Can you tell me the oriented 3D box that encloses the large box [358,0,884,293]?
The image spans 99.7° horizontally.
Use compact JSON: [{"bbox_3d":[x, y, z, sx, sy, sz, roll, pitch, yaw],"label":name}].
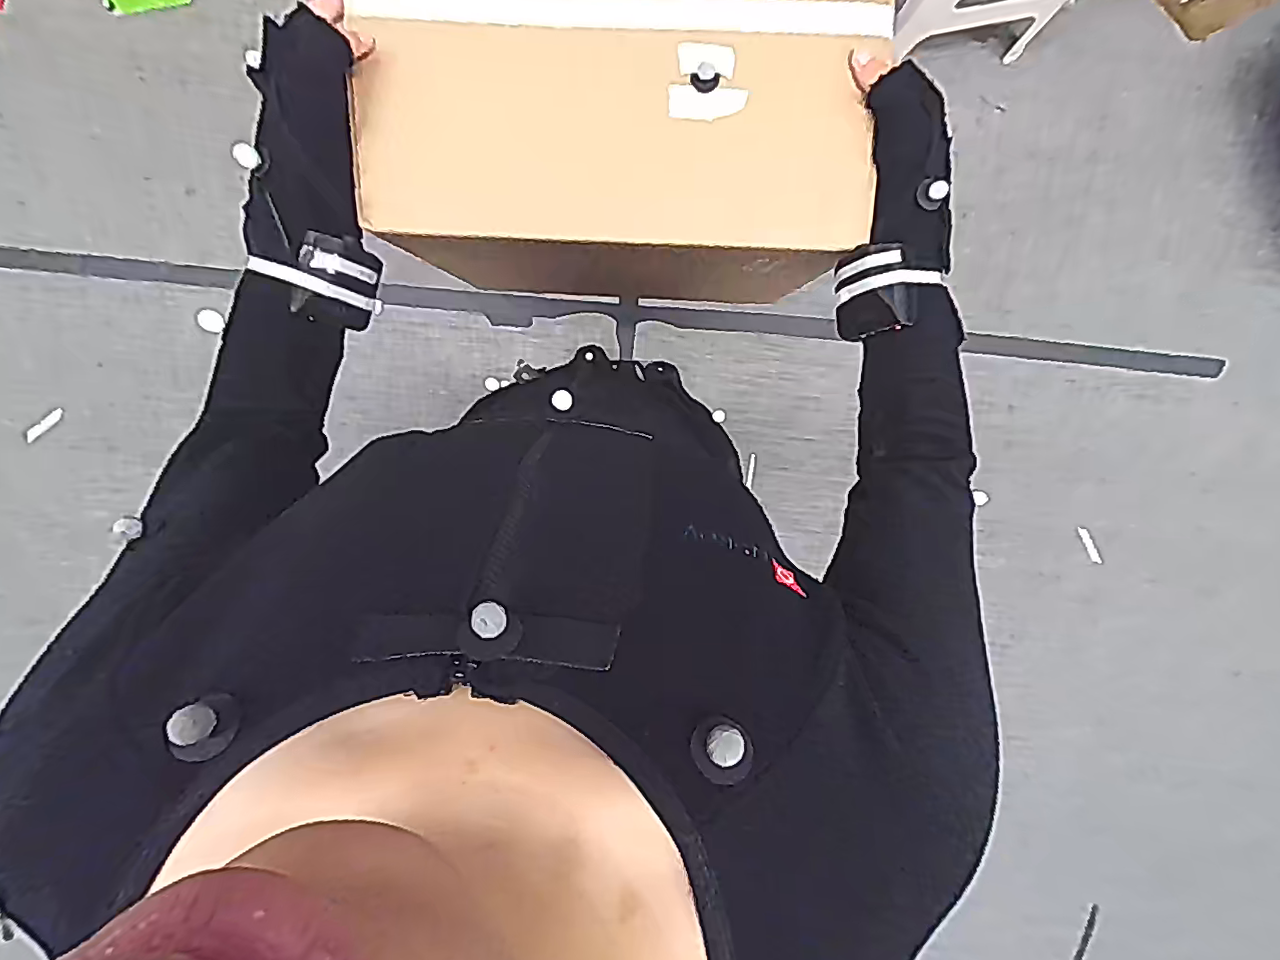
[{"bbox_3d":[-0.016,-0.379,0.554,0.408,0.320,0.320,2,101,-1],"label":"large box"}]
